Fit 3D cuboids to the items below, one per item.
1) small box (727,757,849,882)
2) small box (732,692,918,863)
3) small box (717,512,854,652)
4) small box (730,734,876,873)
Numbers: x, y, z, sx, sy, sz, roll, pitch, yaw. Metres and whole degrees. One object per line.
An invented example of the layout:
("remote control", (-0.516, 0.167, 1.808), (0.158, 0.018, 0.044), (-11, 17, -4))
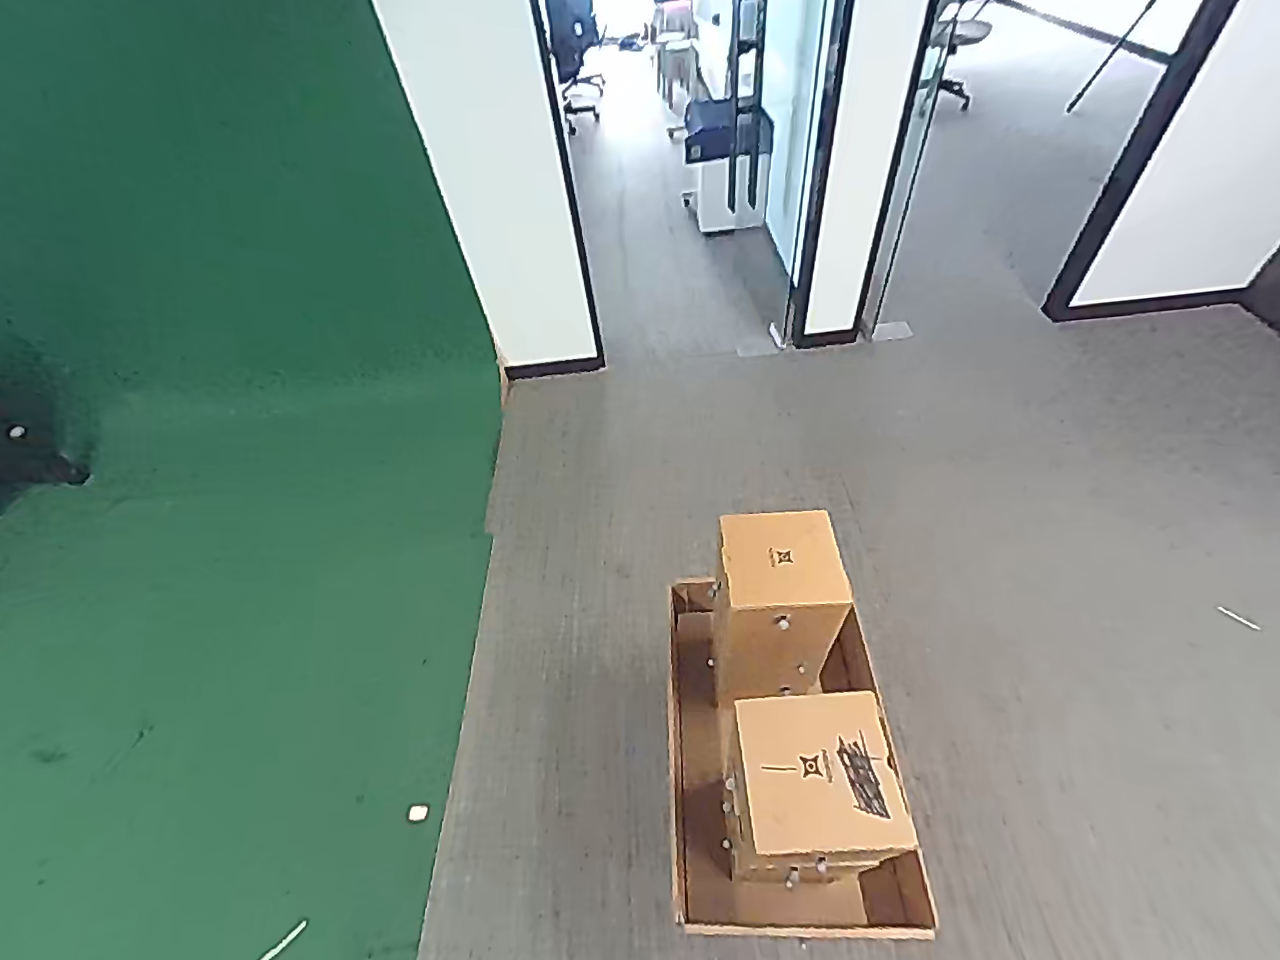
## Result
("small box", (0.245, 0.594, 0.943), (0.179, 0.176, 0.168), (-1, 51, 4))
("small box", (0.217, 0.383, 0.691), (0.179, 0.176, 0.168), (-5, 51, 4))
("small box", (0.222, 0.168, 0.876), (0.179, 0.176, 0.168), (-3, 50, 3))
("small box", (0.231, 0.489, 0.817), (0.179, 0.176, 0.168), (-4, 51, 5))
